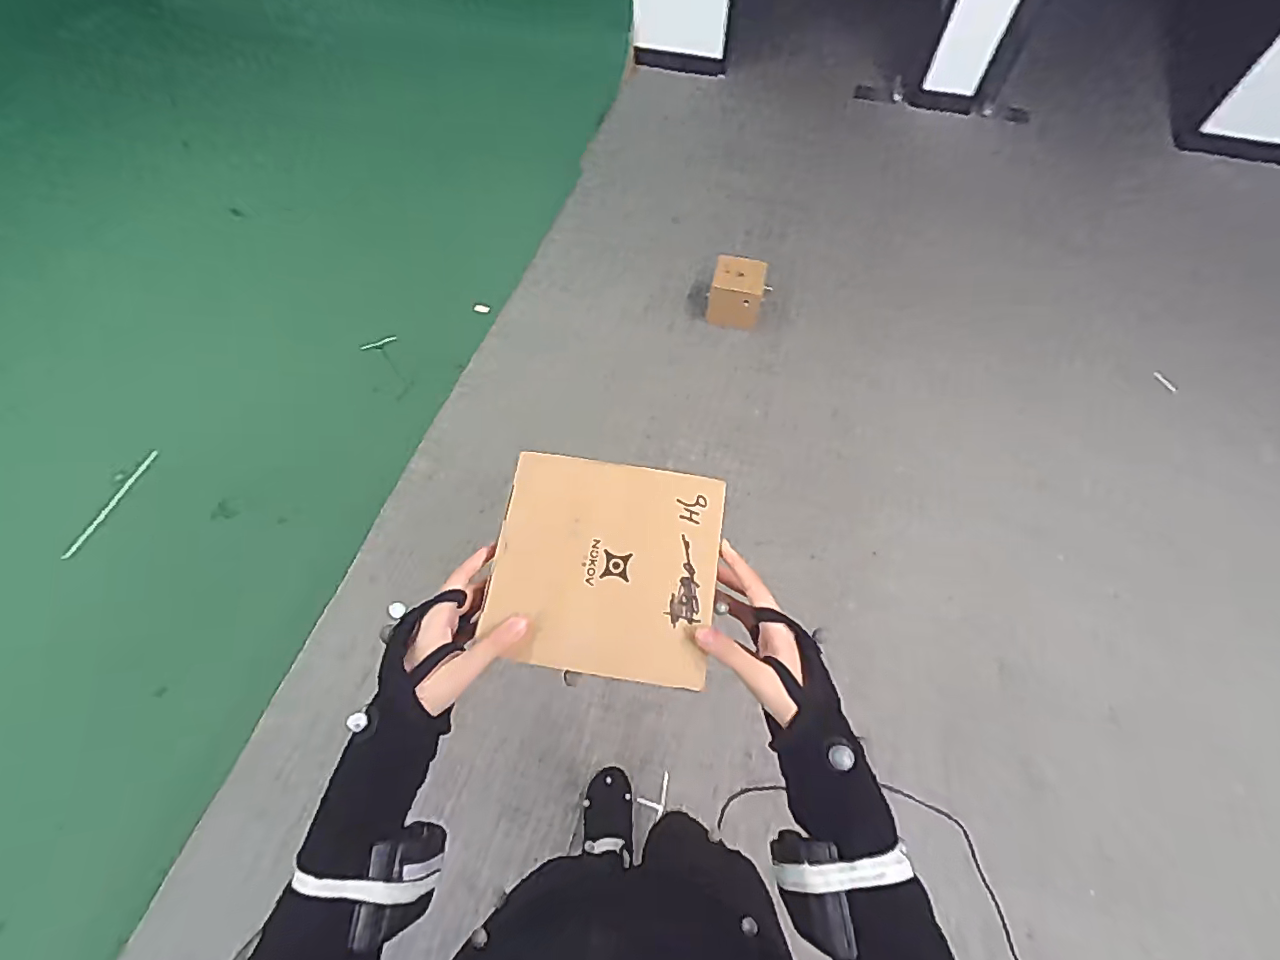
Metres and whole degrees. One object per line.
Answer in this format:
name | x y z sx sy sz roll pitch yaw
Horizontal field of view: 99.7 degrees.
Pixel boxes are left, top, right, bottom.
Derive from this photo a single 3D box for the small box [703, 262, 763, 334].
small box | 0.331 -0.649 1.938 0.179 0.176 0.168 11 62 7
